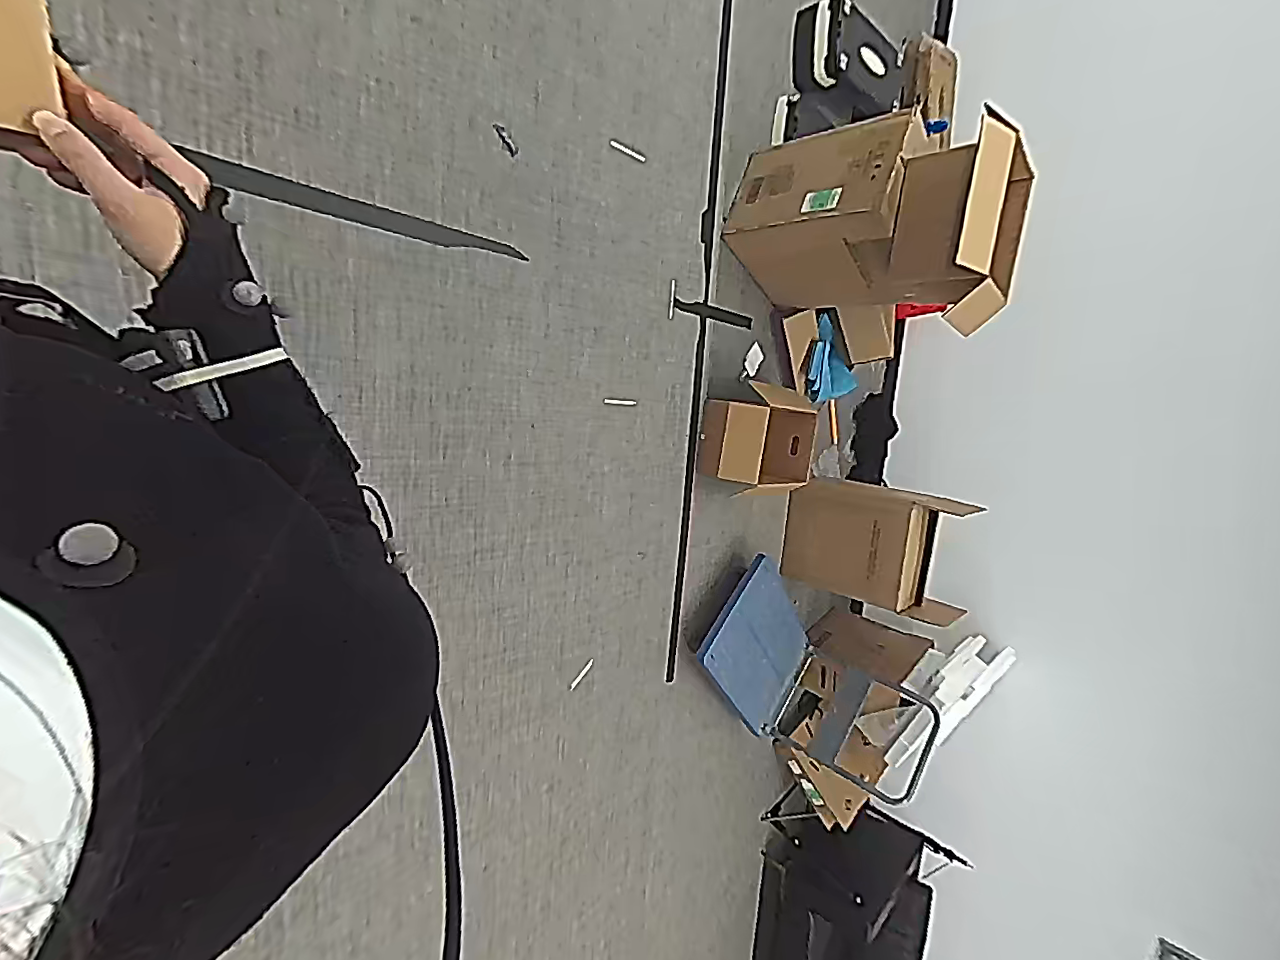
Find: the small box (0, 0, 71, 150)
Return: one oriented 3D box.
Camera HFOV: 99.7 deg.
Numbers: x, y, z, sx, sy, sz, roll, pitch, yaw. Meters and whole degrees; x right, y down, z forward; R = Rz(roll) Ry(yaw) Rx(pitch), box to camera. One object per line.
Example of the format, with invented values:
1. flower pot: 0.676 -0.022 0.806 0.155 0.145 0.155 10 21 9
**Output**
1. small box: -0.428 -0.285 0.275 0.179 0.176 0.168 -9 115 -43
